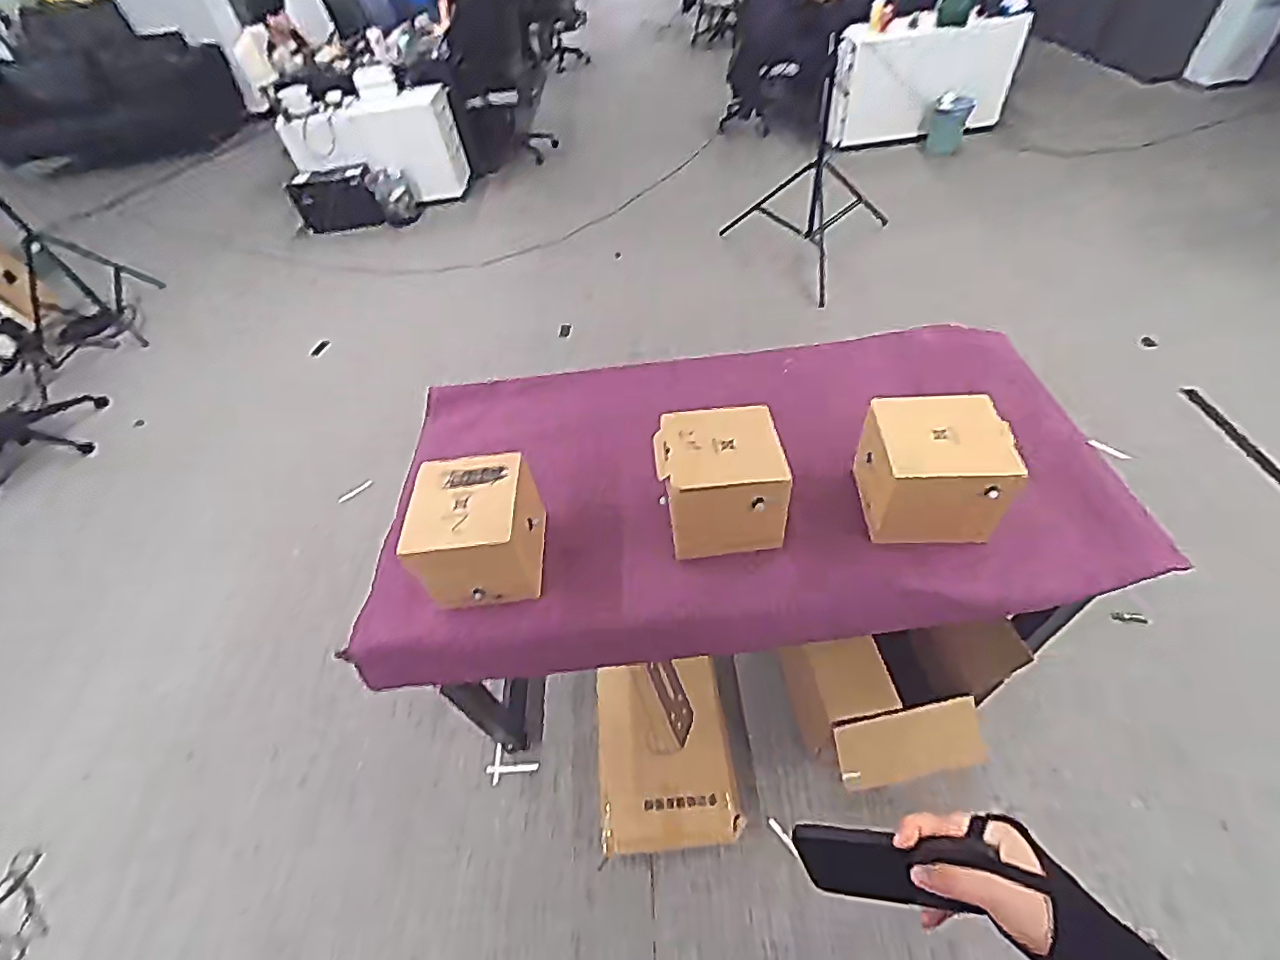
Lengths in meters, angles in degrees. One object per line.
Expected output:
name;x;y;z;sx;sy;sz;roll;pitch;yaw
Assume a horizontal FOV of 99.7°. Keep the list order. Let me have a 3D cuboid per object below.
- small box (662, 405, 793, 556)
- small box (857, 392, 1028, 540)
small box;0.133;0.004;0.872;0.179;0.176;0.168;-7;47;2
small box;0.450;-0.017;0.845;0.179;0.176;0.168;-2;50;7
